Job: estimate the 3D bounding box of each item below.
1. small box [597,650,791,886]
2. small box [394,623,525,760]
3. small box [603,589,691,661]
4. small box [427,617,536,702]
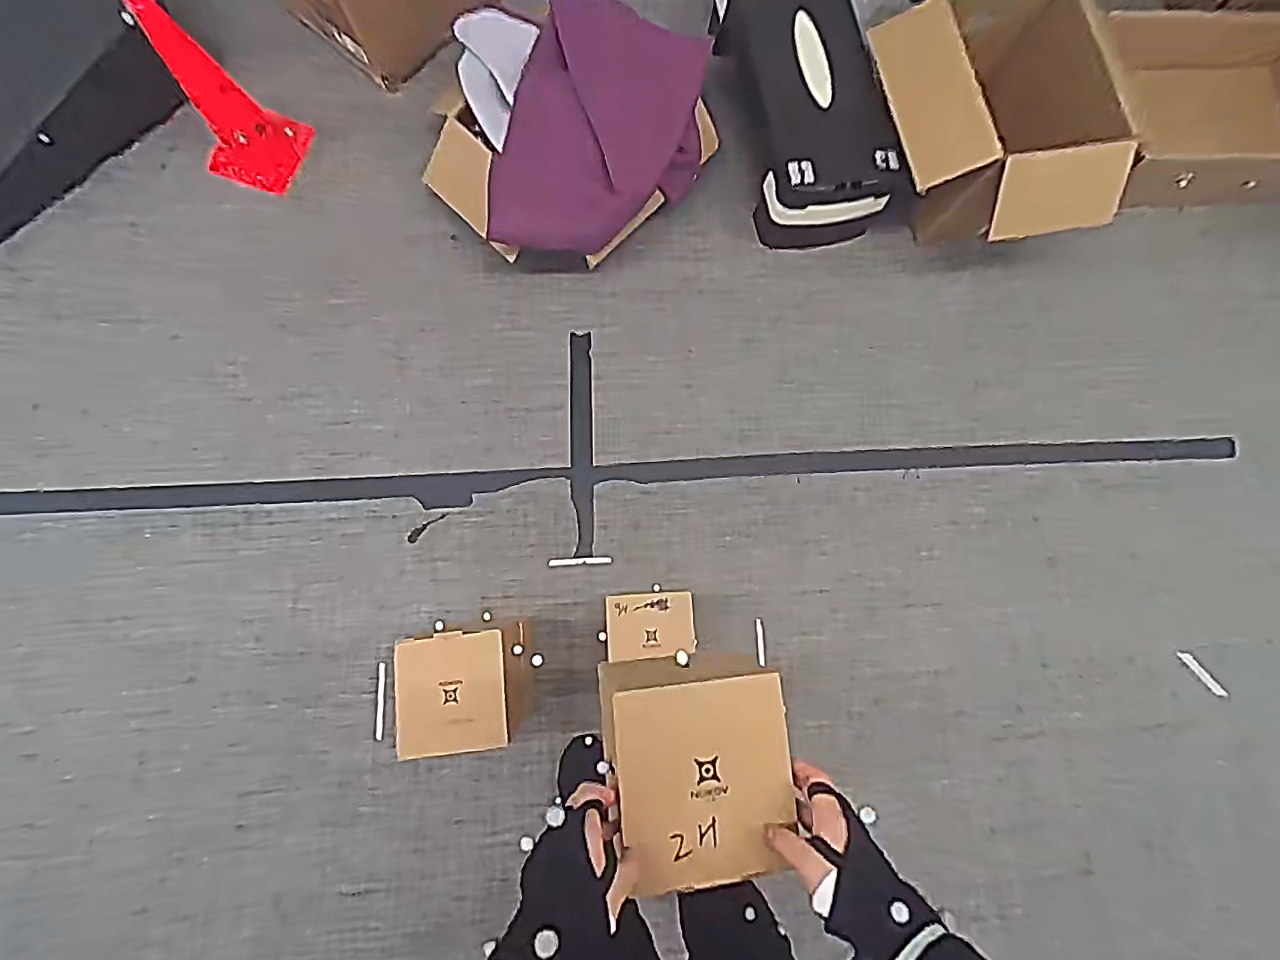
[{"bbox_3d":[0.044,0.286,0.586,0.168,0.176,0.179,-3,82,-9],"label":"small box"},{"bbox_3d":[-0.291,0.337,0.899,0.168,0.176,0.179,-6,82,-3],"label":"small box"},{"bbox_3d":[0.011,0.315,1.088,0.168,0.176,0.179,-2,81,-4],"label":"small box"},{"bbox_3d":[-0.305,0.362,1.059,0.179,0.176,0.168,-4,81,-5],"label":"small box"}]
